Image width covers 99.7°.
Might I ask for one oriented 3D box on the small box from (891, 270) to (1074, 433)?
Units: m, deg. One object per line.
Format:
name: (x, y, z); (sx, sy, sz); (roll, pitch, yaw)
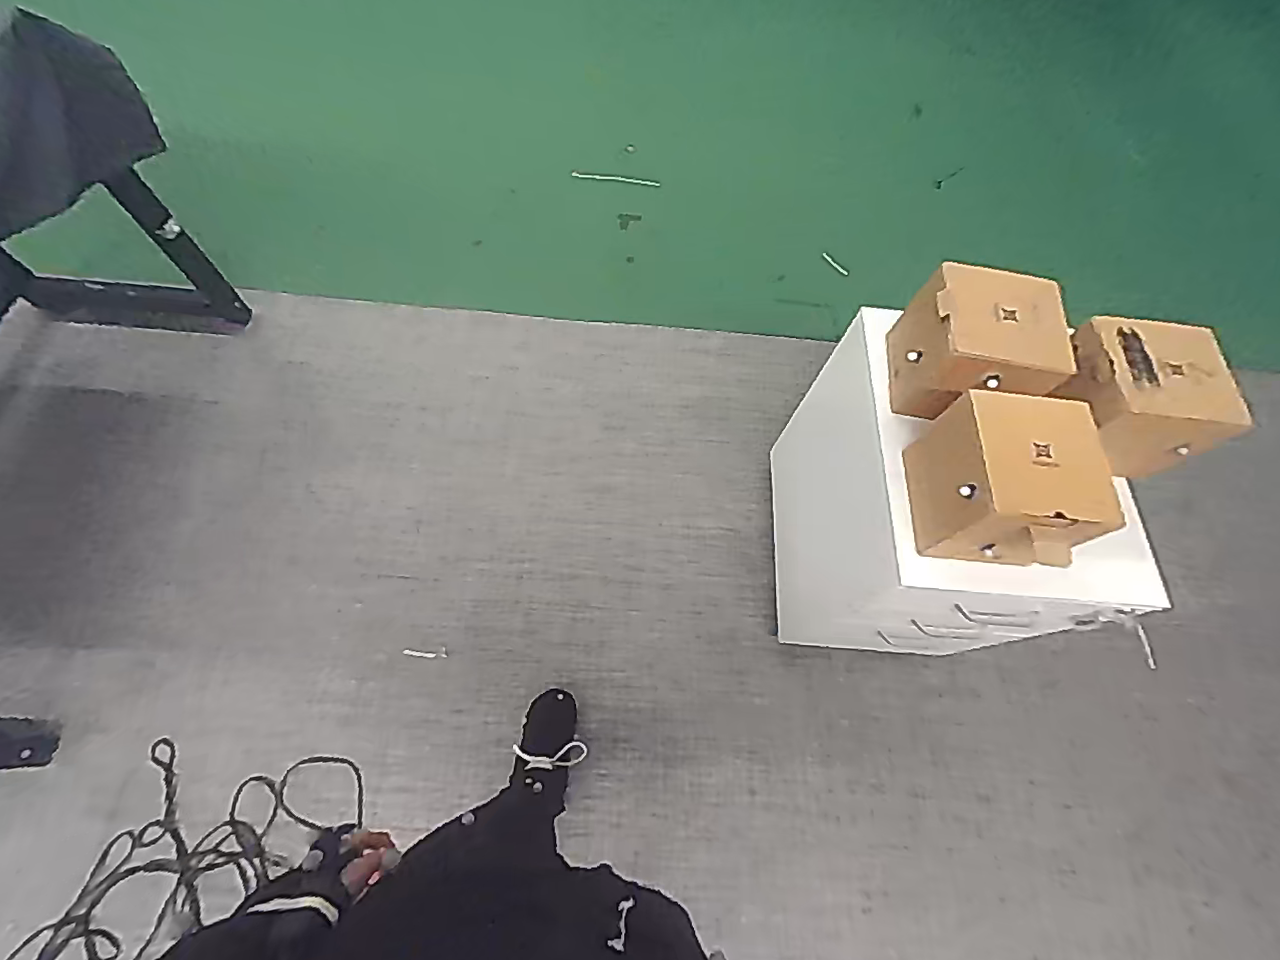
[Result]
small box: (0.506, -0.190, 0.834); (0.179, 0.176, 0.168); (10, 66, -2)
